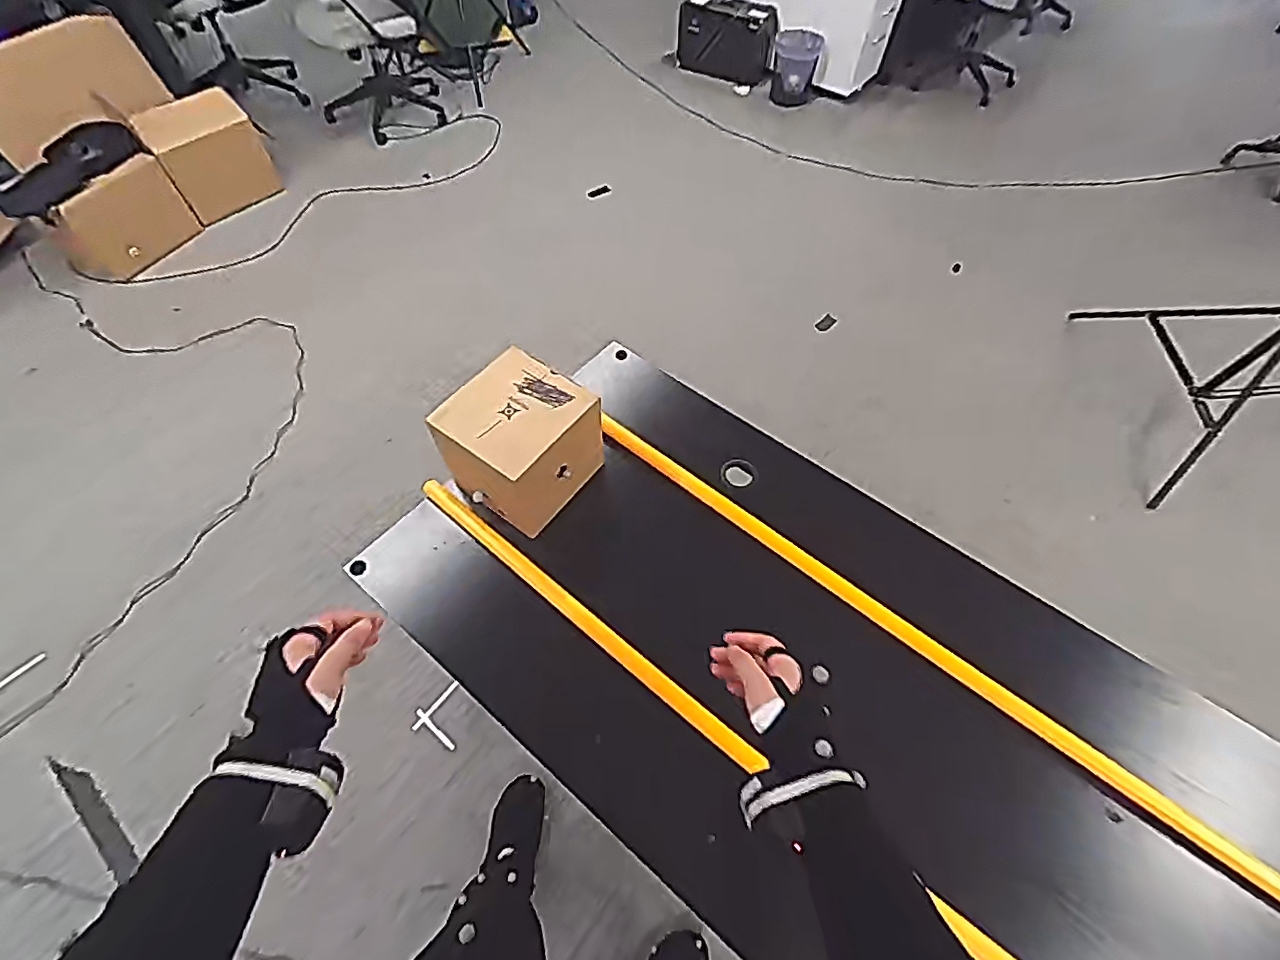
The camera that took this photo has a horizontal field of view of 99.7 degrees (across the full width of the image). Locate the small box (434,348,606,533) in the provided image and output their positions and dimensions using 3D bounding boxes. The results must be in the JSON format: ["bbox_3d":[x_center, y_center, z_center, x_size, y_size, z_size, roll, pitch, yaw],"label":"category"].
[{"bbox_3d":[-0.167,-0.055,0.805,0.168,0.176,0.179,32,63,17],"label":"small box"}]
